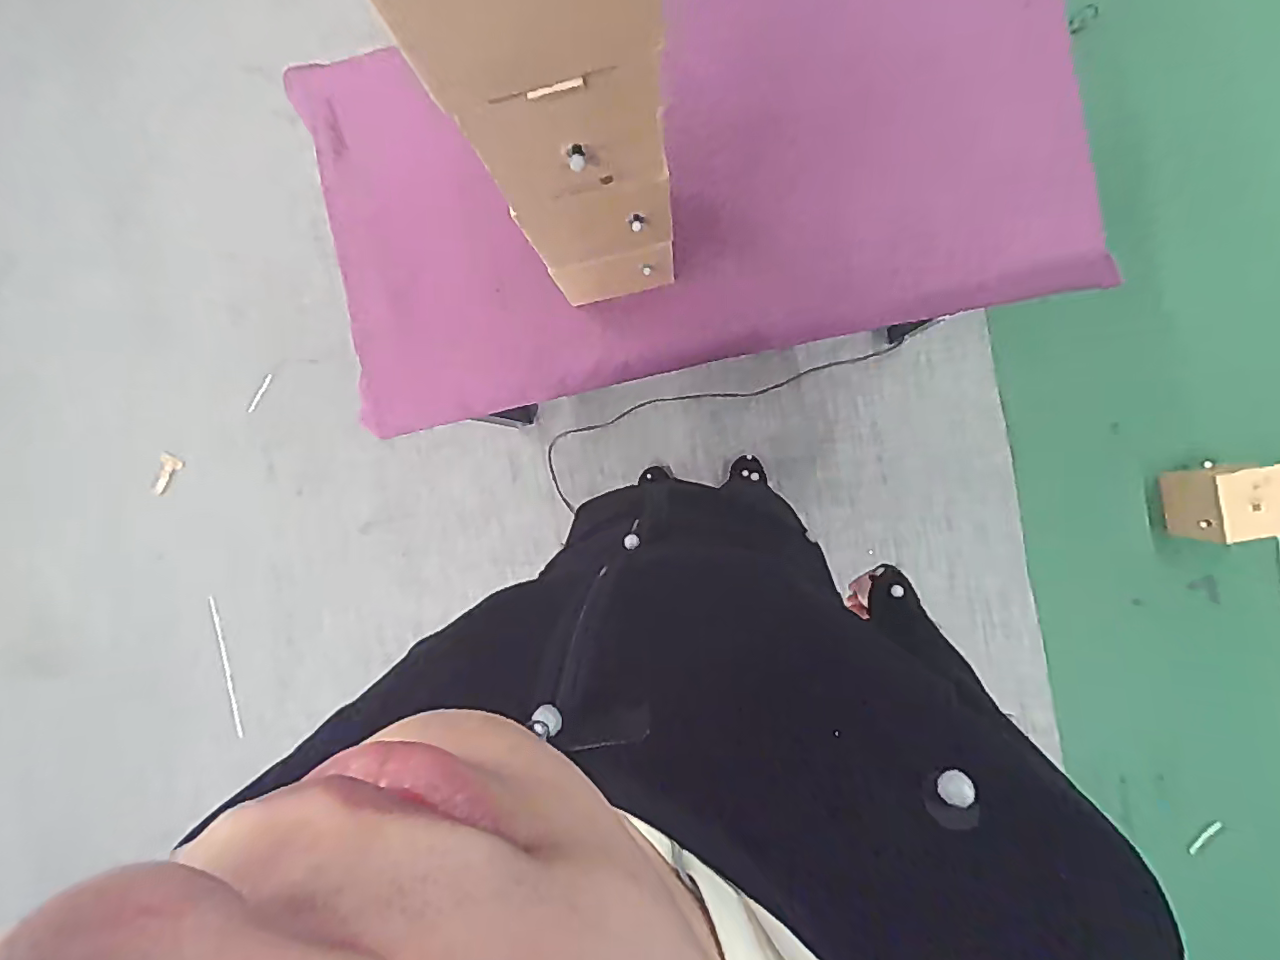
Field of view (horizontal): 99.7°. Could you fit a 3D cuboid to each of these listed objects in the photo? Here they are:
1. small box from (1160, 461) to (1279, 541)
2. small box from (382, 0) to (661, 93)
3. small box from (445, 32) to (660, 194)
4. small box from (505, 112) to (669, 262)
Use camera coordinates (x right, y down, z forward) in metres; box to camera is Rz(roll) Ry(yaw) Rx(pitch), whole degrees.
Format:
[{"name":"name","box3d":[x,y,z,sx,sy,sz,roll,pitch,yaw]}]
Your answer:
[{"name":"small box","box3d":[1.524,0.050,1.411,0.168,0.176,0.179,-10,91,5]},{"name":"small box","box3d":[-0.090,-0.378,0.321,0.179,0.176,0.168,-13,90,4]},{"name":"small box","box3d":[-0.079,-0.386,0.485,0.168,0.176,0.179,-13,91,5]},{"name":"small box","box3d":[-0.064,-0.386,0.647,0.179,0.176,0.168,-12,91,6]}]
